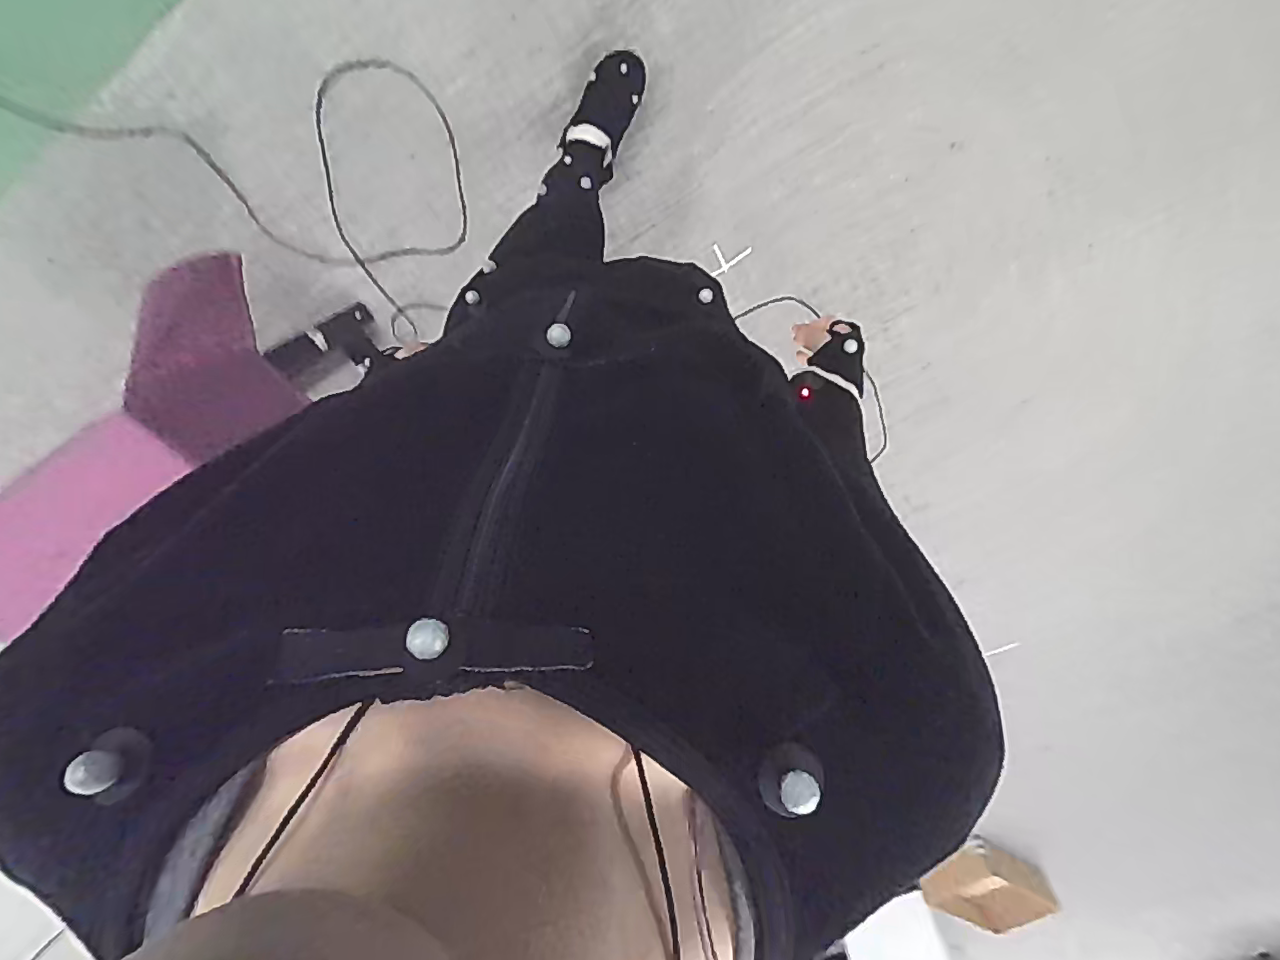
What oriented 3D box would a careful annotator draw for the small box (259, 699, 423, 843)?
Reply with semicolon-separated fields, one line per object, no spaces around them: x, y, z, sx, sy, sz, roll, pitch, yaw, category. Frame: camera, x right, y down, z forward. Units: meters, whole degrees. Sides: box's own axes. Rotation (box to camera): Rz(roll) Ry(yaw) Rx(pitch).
-0.550;0.540;1.021;0.168;0.176;0.179;-26;118;15;small box
